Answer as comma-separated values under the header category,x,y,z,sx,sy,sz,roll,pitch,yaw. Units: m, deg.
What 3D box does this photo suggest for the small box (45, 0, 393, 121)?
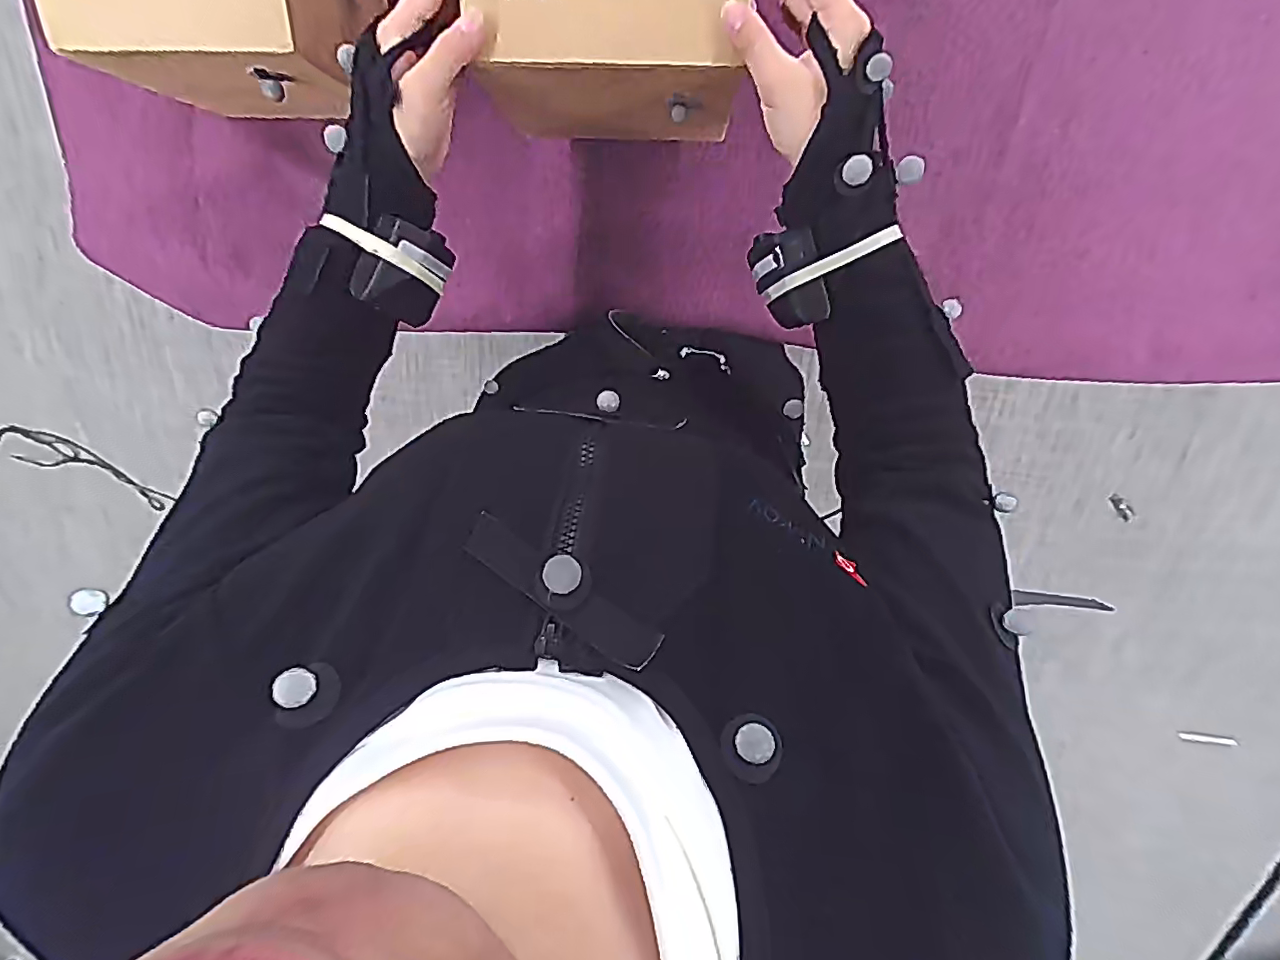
category,x,y,z,sx,sy,sz,roll,pitch,yaw
small box,-0.313,-0.399,0.421,0.179,0.176,0.168,2,110,1
